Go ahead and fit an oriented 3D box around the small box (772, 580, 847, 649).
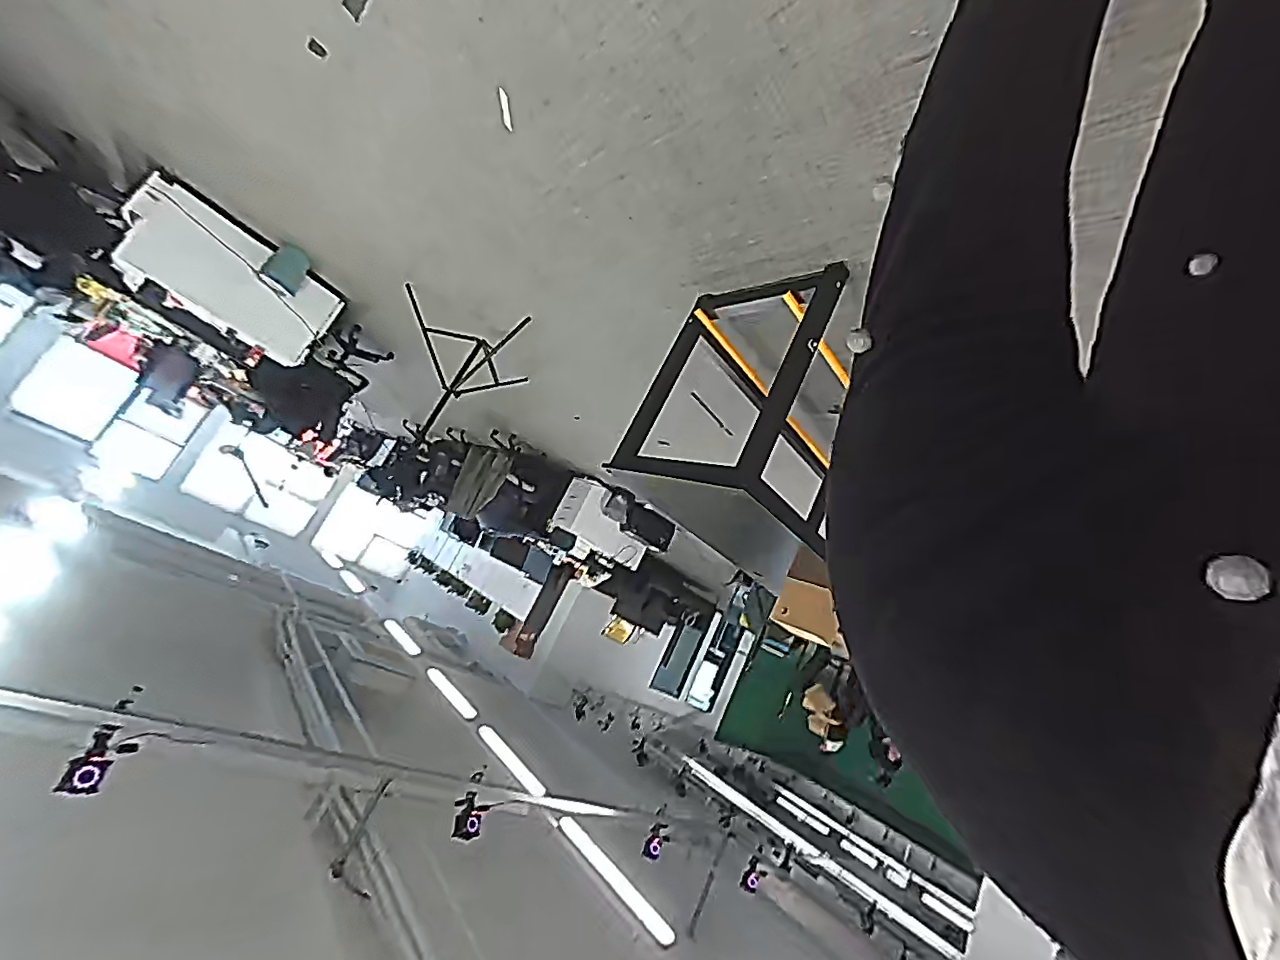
[{"bbox_3d":[0.614,0.479,1.950,0.179,0.176,0.168,11,159,49],"label":"small box"}]
